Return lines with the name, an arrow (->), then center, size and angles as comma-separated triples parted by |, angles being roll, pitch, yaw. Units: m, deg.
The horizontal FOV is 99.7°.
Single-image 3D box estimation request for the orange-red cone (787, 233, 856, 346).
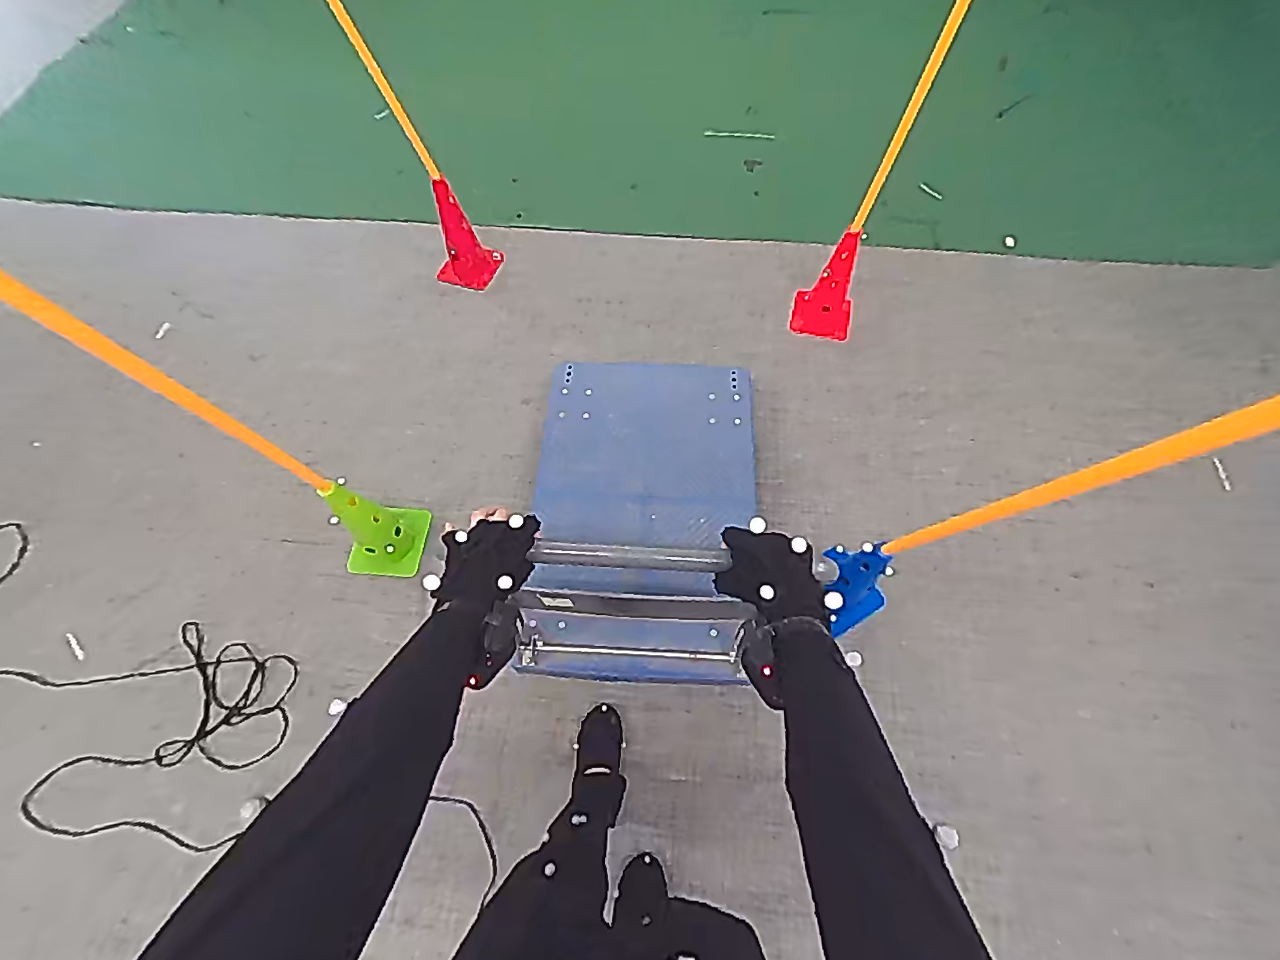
orange-red cone -> 0.623, -0.633, 1.744 | 0.198, 0.360, 0.199 | 14, 65, 9
